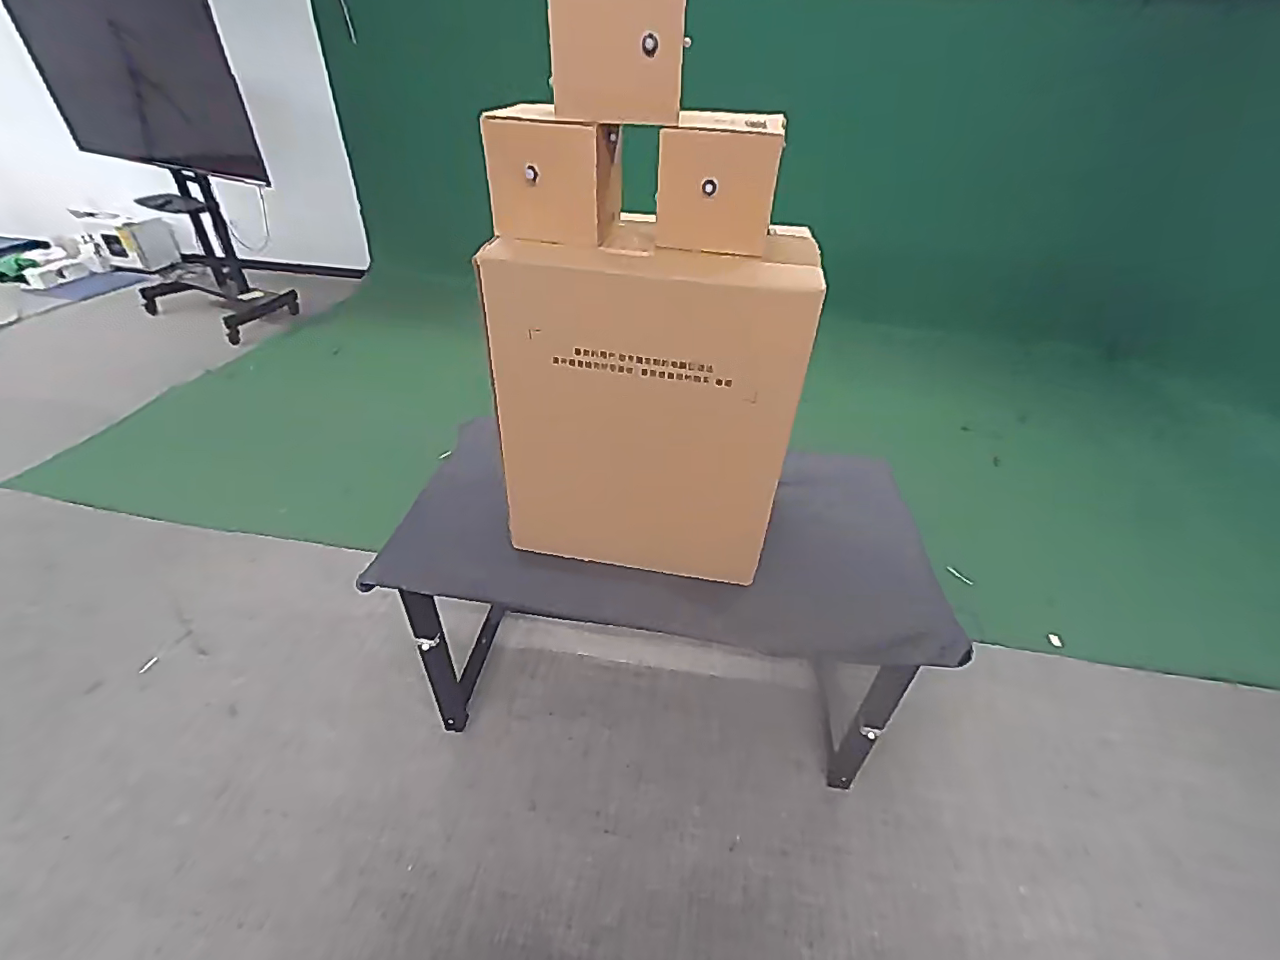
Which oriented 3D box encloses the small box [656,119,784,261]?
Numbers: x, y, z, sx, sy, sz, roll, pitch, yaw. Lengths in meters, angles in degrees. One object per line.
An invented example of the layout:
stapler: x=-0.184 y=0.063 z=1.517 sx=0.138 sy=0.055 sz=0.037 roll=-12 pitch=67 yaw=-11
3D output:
small box: x=0.127 y=-0.464 z=0.867 sx=0.179 sy=0.176 sz=0.168 roll=8 pitch=41 yaw=9

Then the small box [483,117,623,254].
small box: x=-0.130 y=-0.482 z=0.884 sx=0.179 sy=0.176 sz=0.168 roll=9 pitch=41 yaw=8

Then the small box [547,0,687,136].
small box: x=-0.028 y=-0.598 z=0.772 sx=0.179 sy=0.176 sz=0.168 roll=1 pitch=39 yaw=0
